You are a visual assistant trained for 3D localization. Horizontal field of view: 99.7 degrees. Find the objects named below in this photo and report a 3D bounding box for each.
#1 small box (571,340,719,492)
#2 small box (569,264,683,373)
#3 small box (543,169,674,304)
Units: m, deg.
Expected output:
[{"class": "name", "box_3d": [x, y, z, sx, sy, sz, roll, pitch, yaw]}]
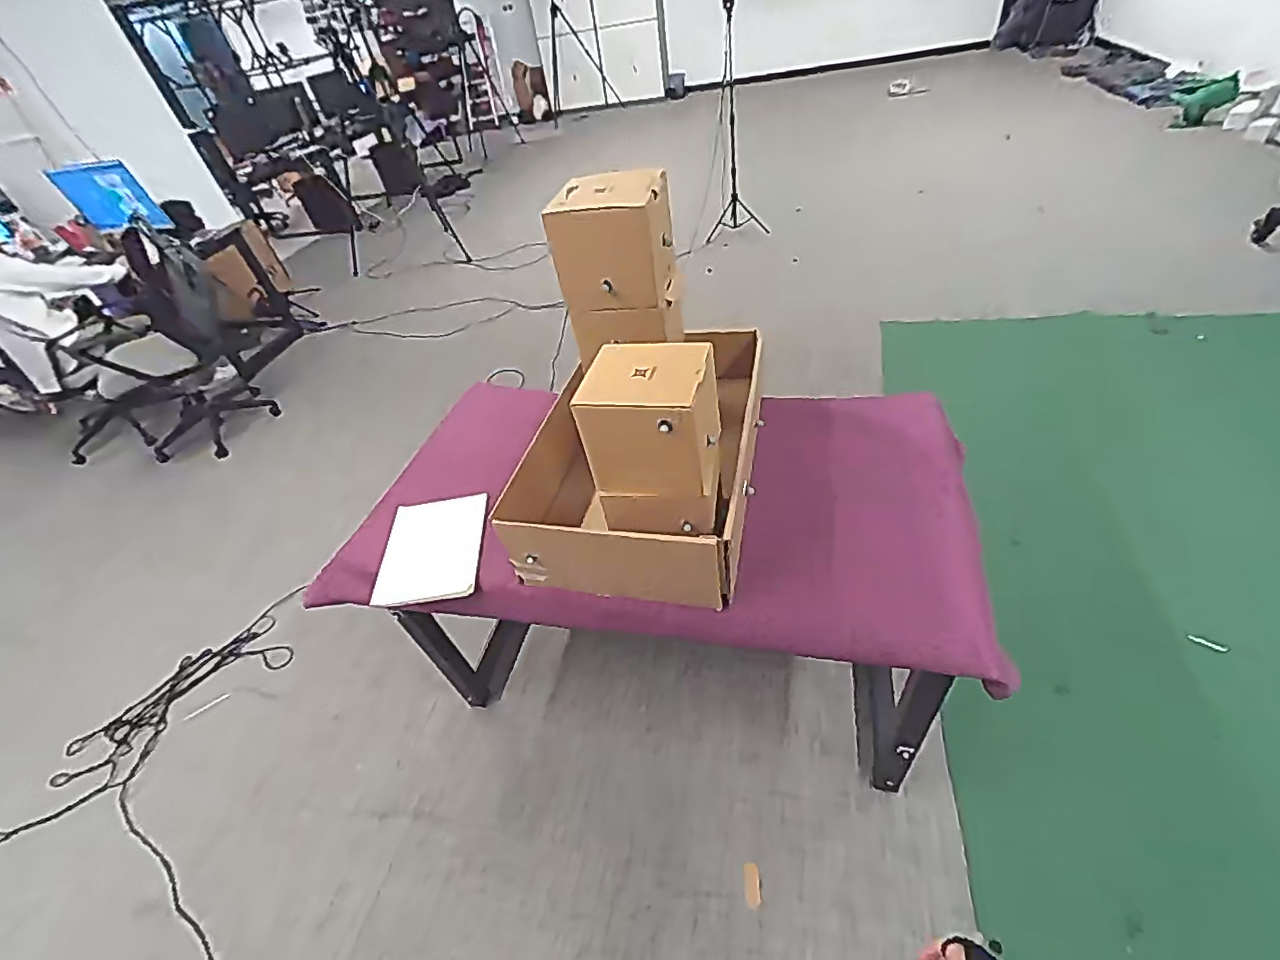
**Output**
[{"class": "small box", "box_3d": [0.019, -0.097, 0.823, 0.179, 0.176, 0.168, 4, 44, 16]}, {"class": "small box", "box_3d": [-0.016, -0.300, 1.050, 0.179, 0.176, 0.168, 2, 45, 14]}, {"class": "small box", "box_3d": [-0.042, -0.418, 0.939, 0.179, 0.176, 0.168, 4, 46, 15]}]
